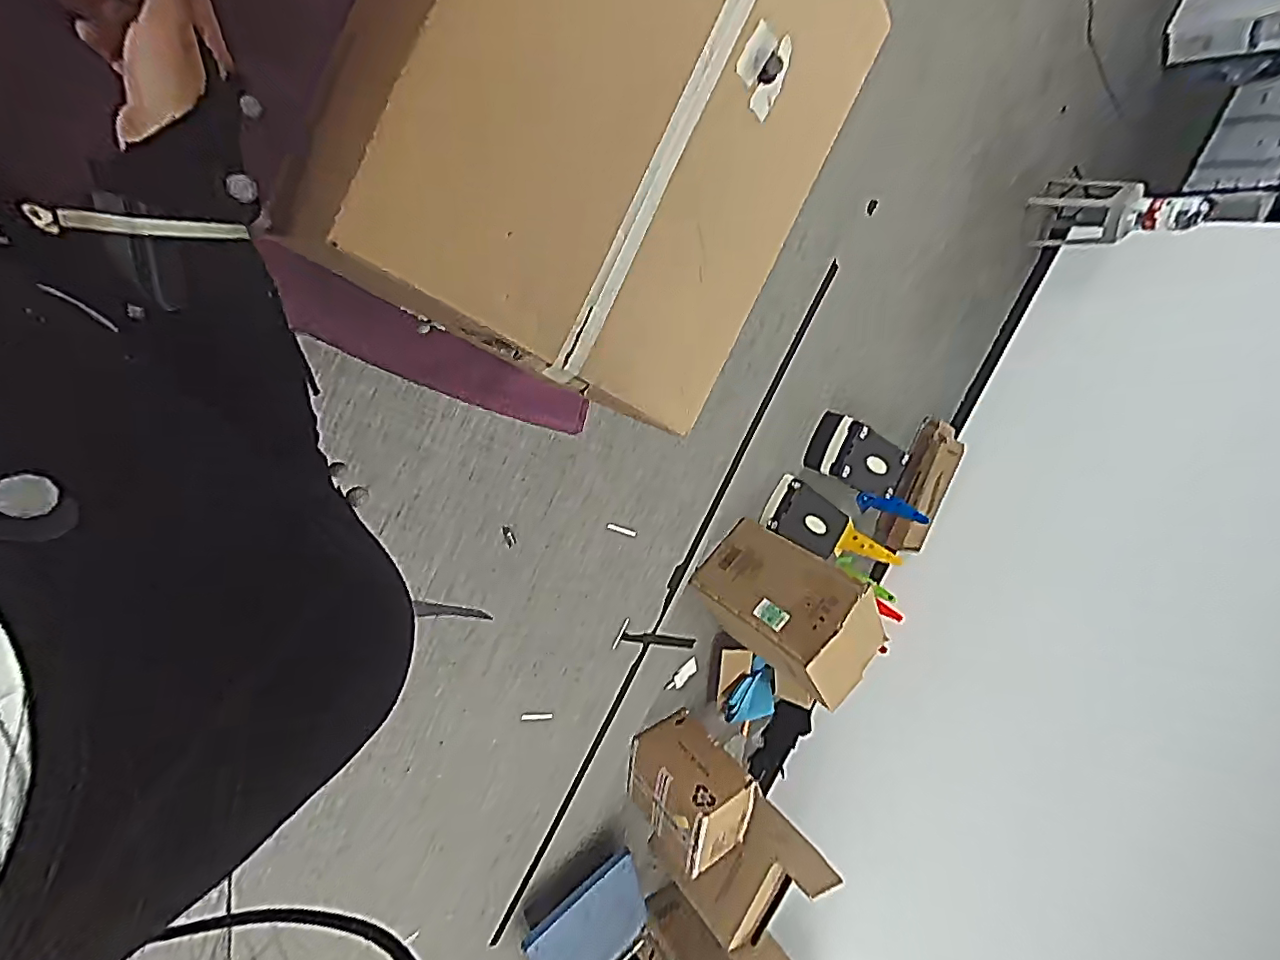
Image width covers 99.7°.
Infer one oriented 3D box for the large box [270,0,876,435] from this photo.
[{"bbox_3d":[-0.067,-0.305,0.480,0.320,0.320,0.408,23,94,-46],"label":"large box"}]
